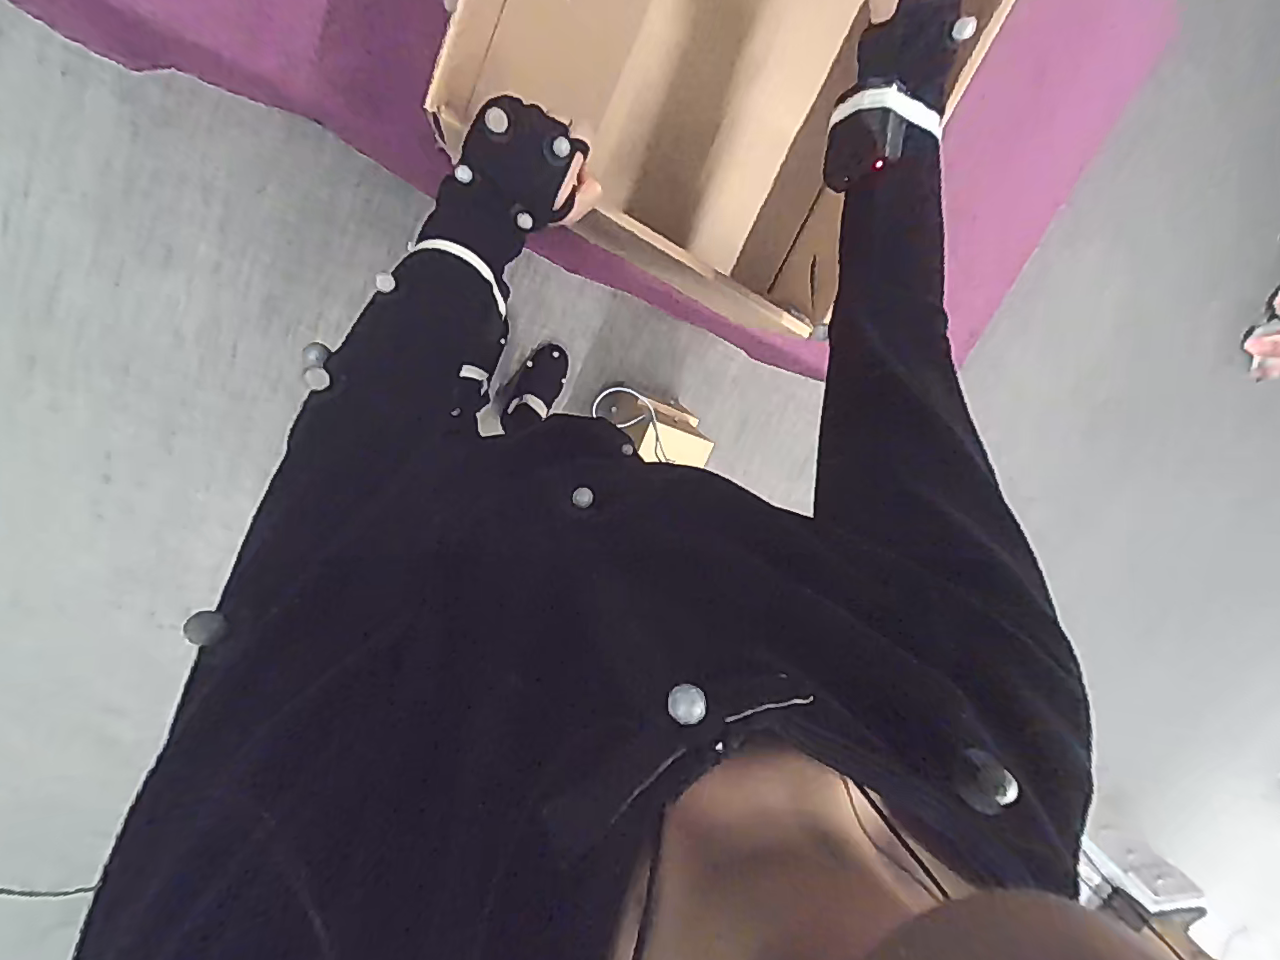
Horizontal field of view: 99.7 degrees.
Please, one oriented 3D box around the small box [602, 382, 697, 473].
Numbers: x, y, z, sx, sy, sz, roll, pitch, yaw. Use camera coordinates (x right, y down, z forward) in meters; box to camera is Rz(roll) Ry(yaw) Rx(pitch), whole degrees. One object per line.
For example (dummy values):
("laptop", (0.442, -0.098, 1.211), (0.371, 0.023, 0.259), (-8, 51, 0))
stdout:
("small box", (0.019, -0.145, 1.434), (0.179, 0.176, 0.168), (19, 106, -21))
